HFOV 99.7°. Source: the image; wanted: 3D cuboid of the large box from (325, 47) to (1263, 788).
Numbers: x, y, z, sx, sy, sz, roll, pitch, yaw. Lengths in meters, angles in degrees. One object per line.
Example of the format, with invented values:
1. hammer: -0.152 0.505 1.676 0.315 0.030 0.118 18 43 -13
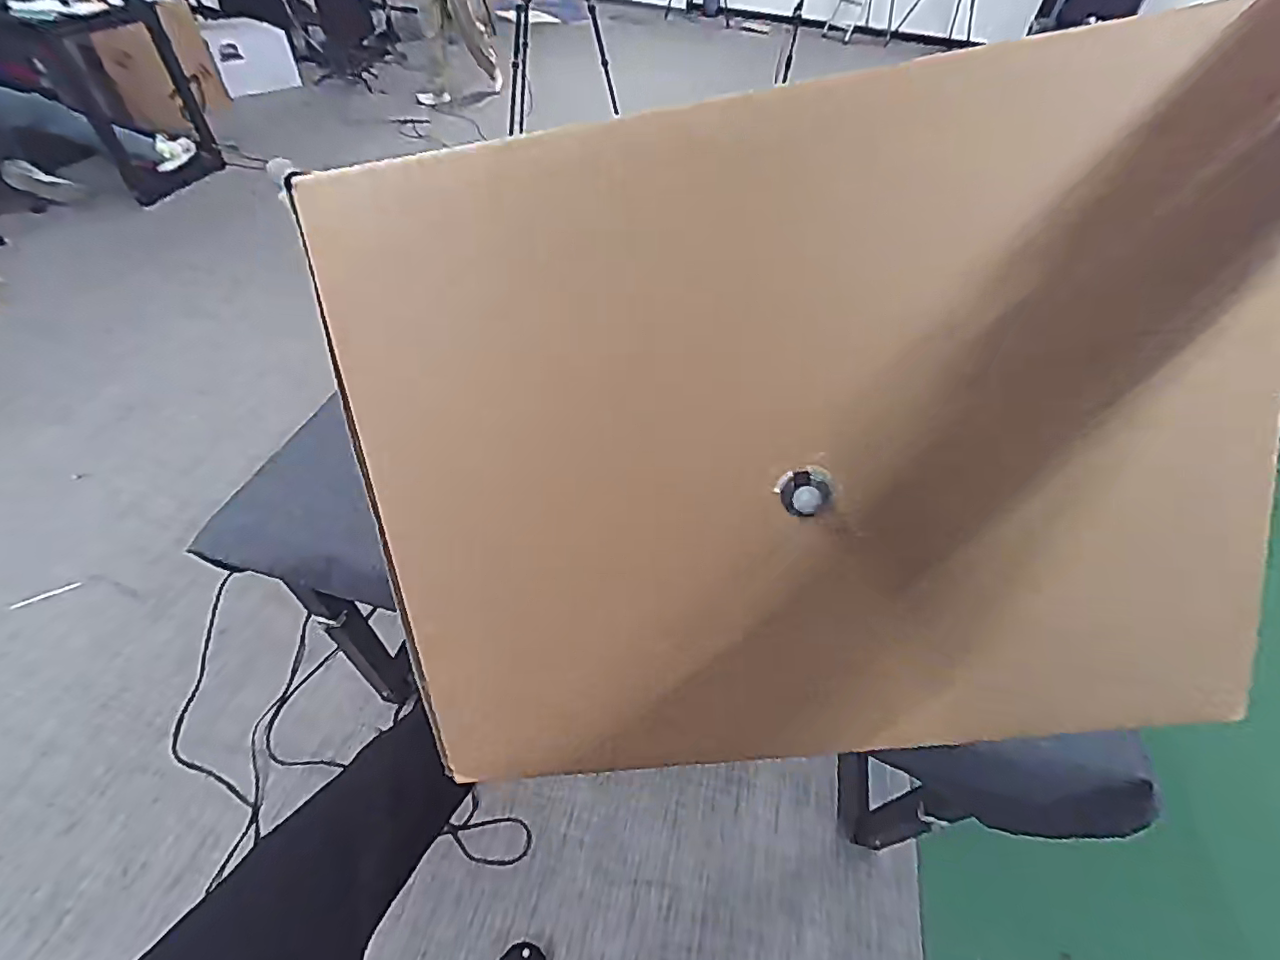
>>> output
1. large box: 0.086 -0.032 0.404 0.408 0.320 0.320 -9 13 4
